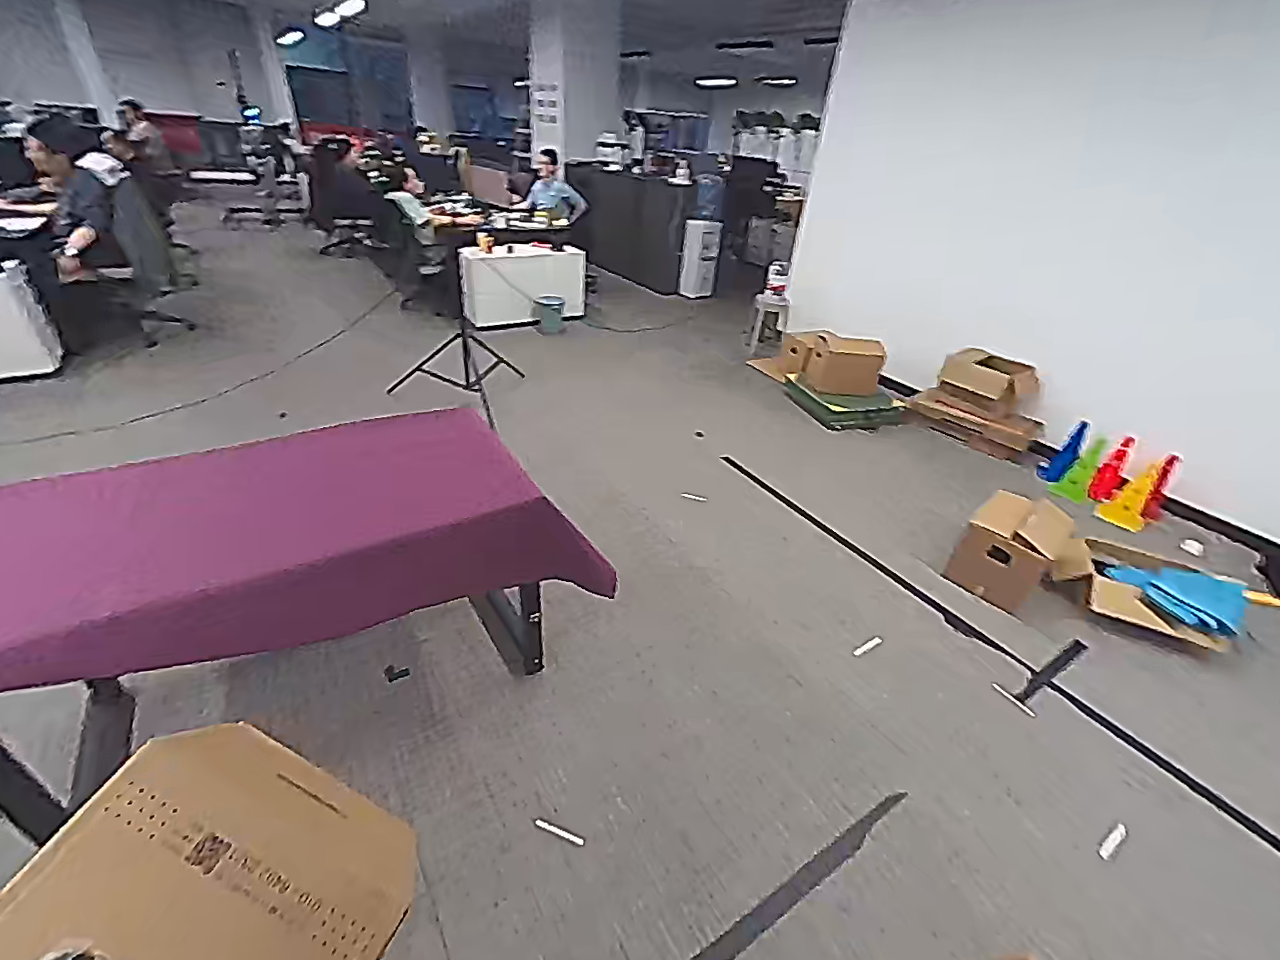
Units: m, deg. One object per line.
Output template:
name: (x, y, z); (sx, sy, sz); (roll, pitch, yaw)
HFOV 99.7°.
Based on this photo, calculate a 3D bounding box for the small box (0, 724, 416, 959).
small box: (-0.260, 0.270, 0.328); (0.168, 0.179, 0.176); (37, 62, -3)
